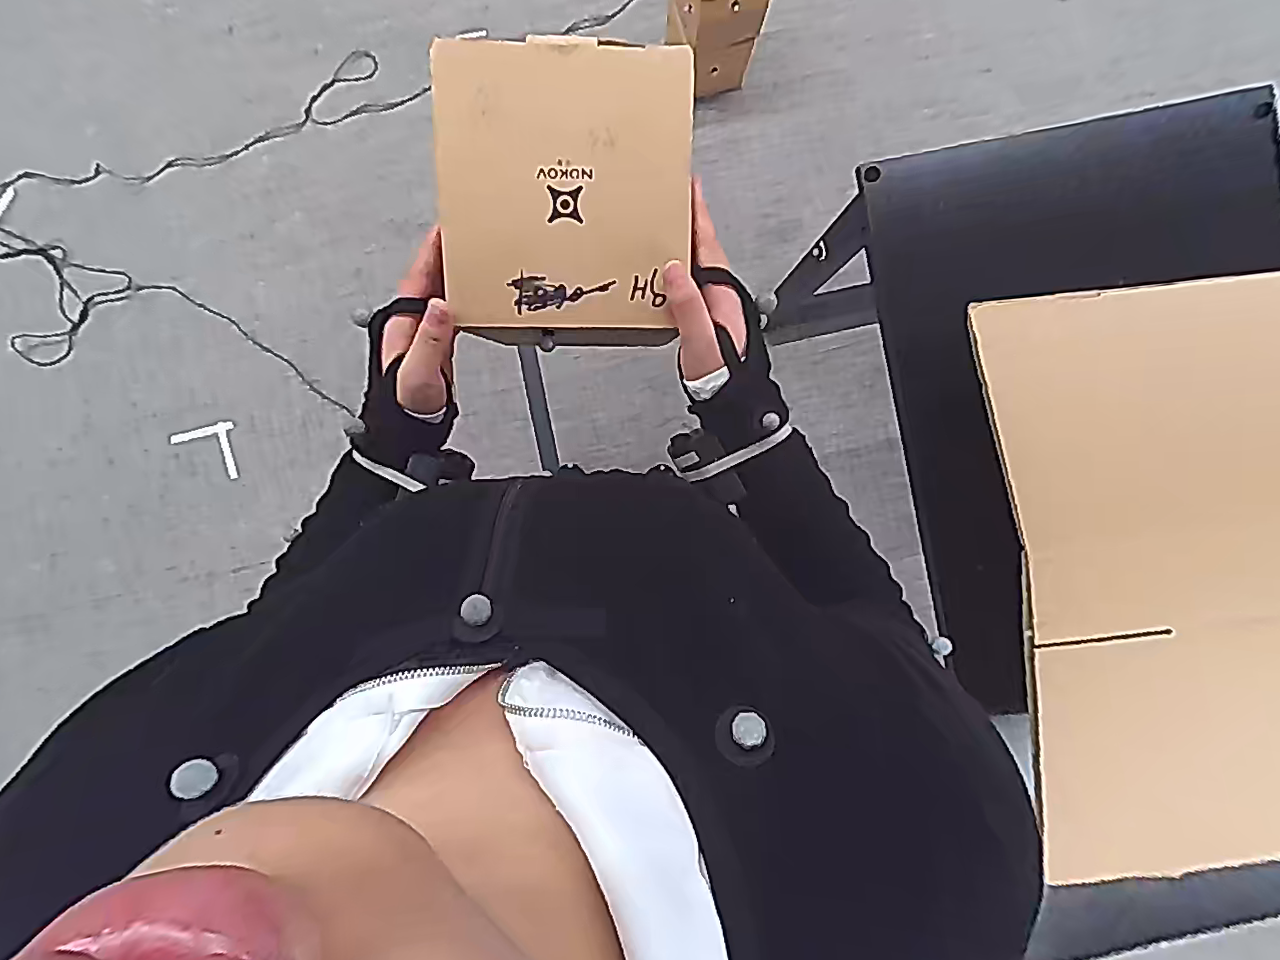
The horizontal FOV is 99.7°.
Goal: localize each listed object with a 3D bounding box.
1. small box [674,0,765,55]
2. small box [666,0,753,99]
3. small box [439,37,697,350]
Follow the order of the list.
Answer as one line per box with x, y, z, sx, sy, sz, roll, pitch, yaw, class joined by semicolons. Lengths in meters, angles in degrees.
0.181;-1.118;1.227;0.179;0.176;0.168;-19;93;-2;small box
0.171;-1.120;1.389;0.179;0.176;0.168;-16;92;0;small box
-0.050;-0.202;0.431;0.168;0.176;0.179;0;99;-3;small box
